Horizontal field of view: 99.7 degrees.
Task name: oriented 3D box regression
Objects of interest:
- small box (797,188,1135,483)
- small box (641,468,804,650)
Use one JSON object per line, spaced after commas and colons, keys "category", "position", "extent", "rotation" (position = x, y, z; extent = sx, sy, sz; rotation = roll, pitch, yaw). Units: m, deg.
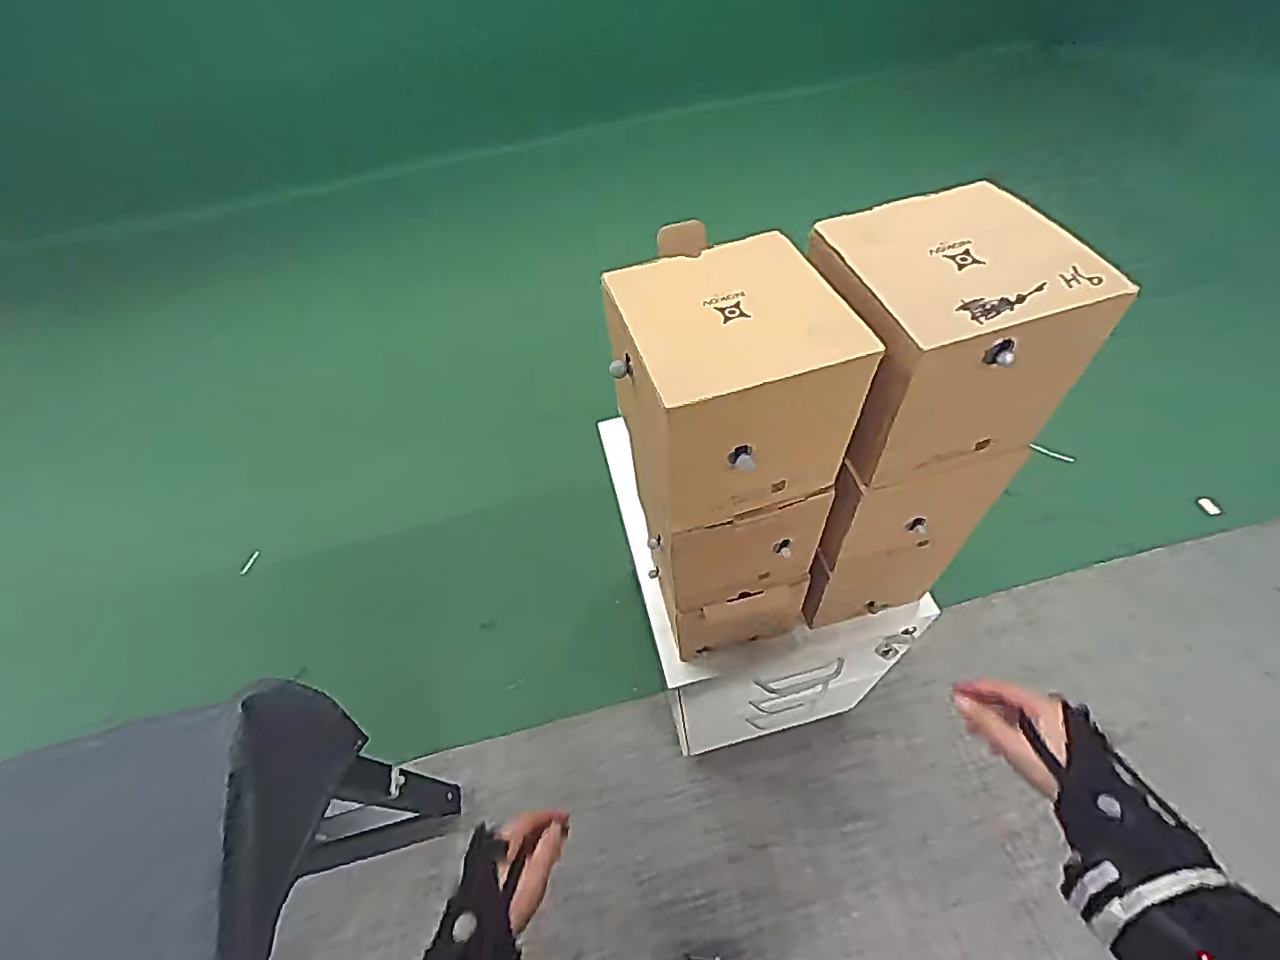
{"category": "small box", "position": [0.256, -0.126, 0.486], "extent": [0.168, 0.176, 0.179], "rotation": [-15, 53, -4]}
{"category": "small box", "position": [0.104, 0.116, 0.736], "extent": [0.168, 0.176, 0.179], "rotation": [-13, 53, -4]}
